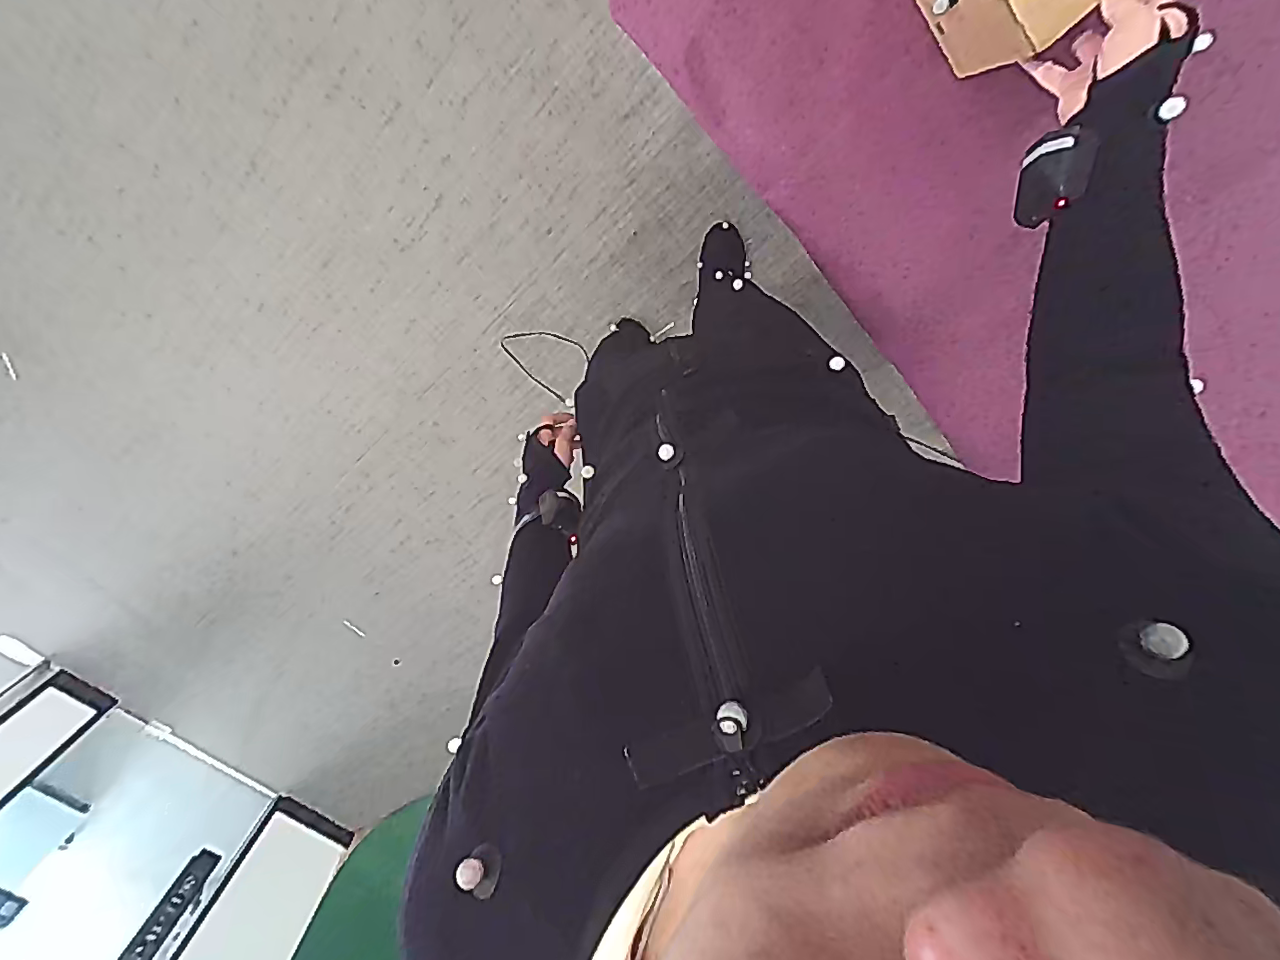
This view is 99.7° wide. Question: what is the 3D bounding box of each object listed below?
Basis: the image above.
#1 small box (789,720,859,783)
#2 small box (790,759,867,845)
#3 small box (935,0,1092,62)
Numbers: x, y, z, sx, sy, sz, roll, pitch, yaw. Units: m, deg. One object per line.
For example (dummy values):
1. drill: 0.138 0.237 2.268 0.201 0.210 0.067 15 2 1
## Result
1. small box: 0.665 1.005 1.975 0.168 0.176 0.179 -37 109 24
2. small box: 0.636 1.092 1.840 0.179 0.176 0.168 41 116 -13
3. small box: 0.372 -0.530 0.493 0.179 0.176 0.168 -37 111 25
